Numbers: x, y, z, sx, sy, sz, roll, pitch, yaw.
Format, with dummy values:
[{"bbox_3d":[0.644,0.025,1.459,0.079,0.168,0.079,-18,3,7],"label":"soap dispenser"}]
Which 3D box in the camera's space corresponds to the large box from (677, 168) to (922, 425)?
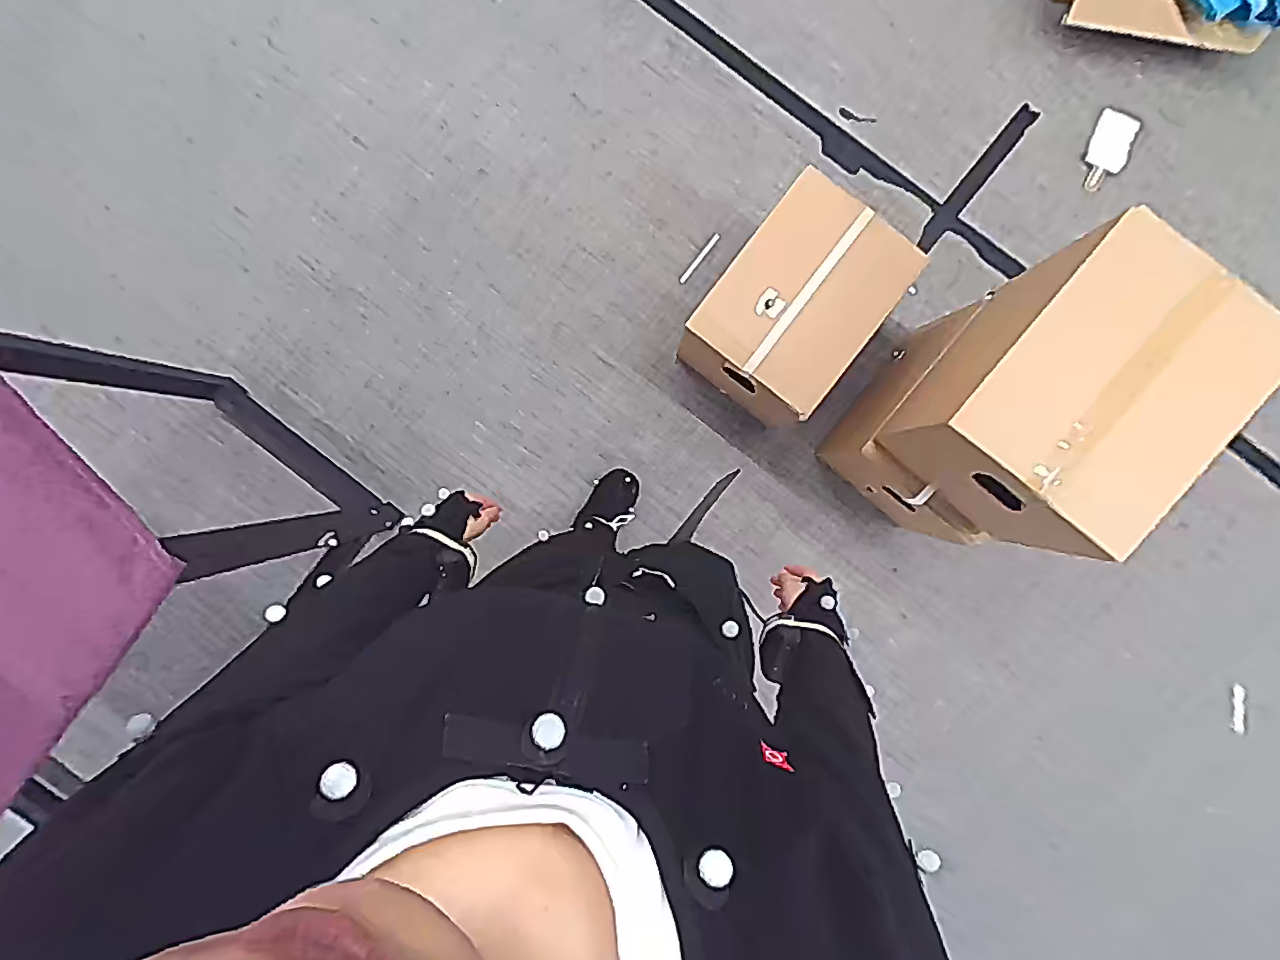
[{"bbox_3d":[0.329,-0.379,1.224,0.320,0.320,0.408,37,93,0],"label":"large box"}]
